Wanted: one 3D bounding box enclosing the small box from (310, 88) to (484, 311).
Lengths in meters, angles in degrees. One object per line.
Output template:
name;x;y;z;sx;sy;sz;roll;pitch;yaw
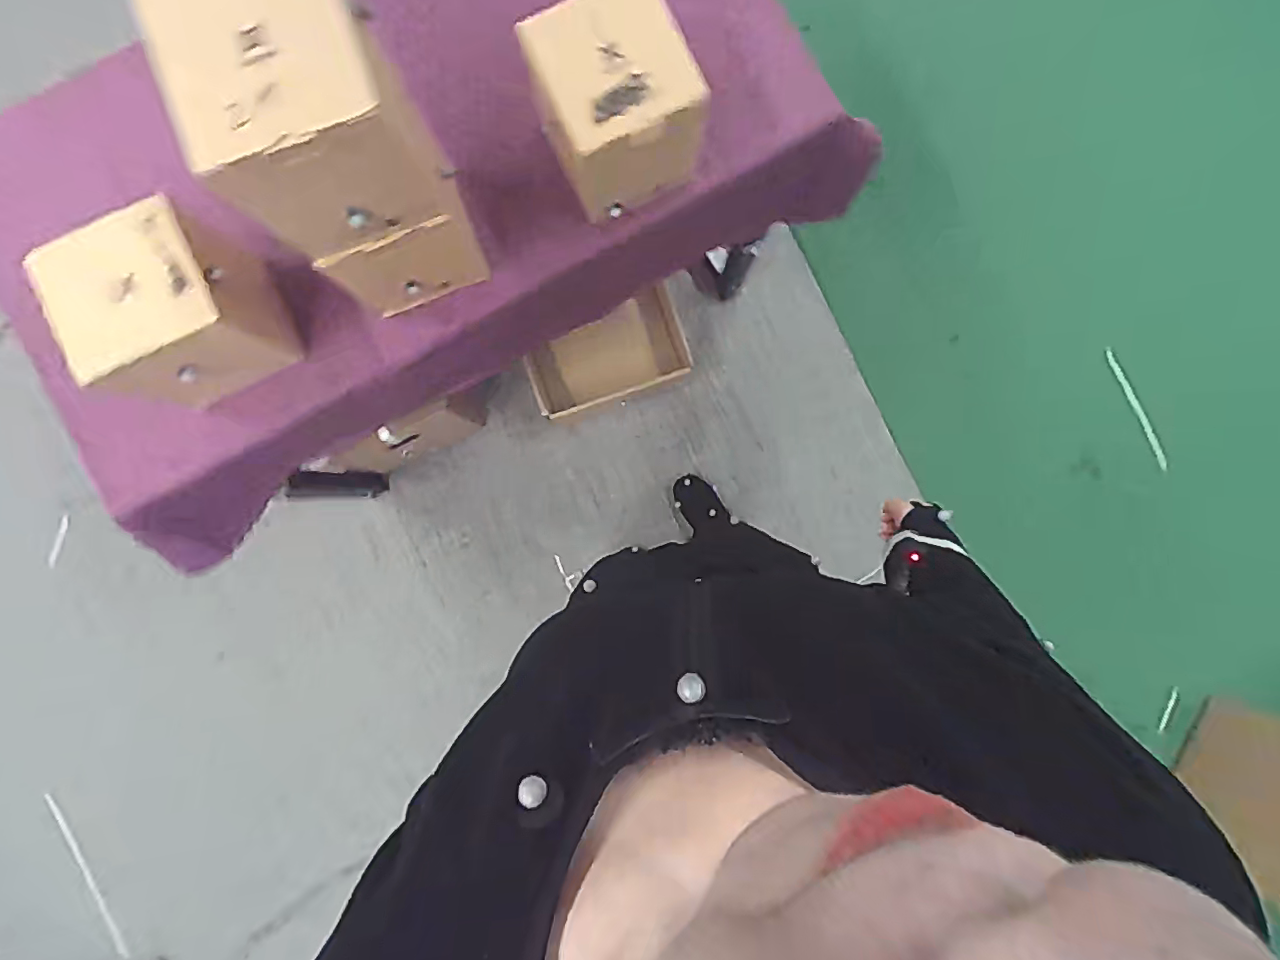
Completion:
small box;-0.326;-0.350;0.705;0.168;0.176;0.179;-22;90;0

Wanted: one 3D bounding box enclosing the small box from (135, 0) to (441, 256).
small box;-0.328;-0.360;0.540;0.168;0.176;0.179;-20;89;0

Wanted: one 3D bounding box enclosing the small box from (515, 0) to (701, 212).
small box;-0.035;-0.484;0.705;0.168;0.176;0.179;-26;88;0

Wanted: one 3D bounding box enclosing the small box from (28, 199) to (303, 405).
small box;-0.591;-0.212;0.699;0.179;0.176;0.168;-26;90;0
